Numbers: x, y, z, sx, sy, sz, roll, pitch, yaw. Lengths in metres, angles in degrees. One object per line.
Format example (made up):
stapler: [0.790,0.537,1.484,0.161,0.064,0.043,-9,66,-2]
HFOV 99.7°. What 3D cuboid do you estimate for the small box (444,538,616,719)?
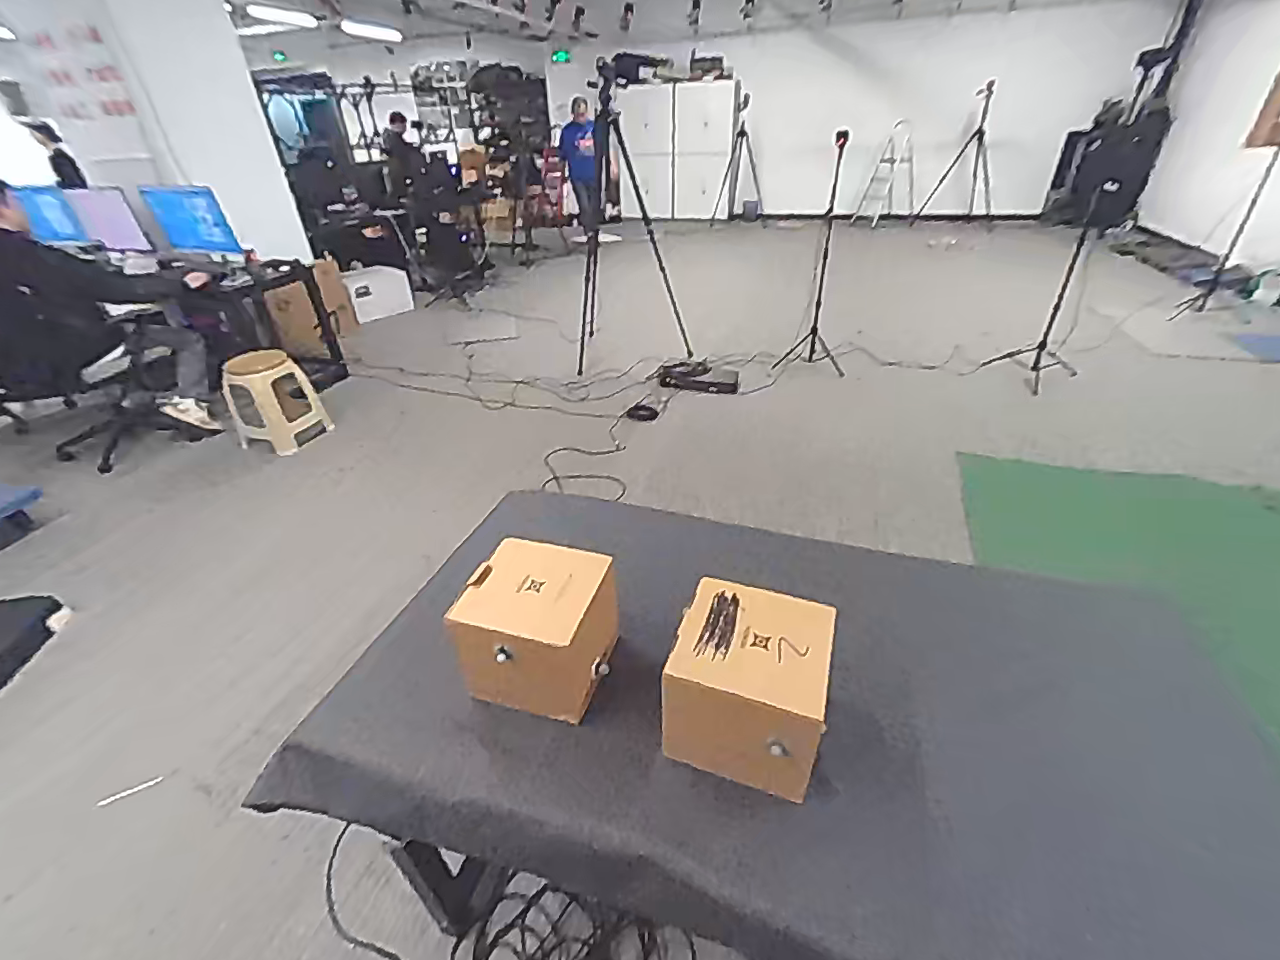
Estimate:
small box: [-0.143,0.209,0.771,0.179,0.176,0.168,9,36,15]
